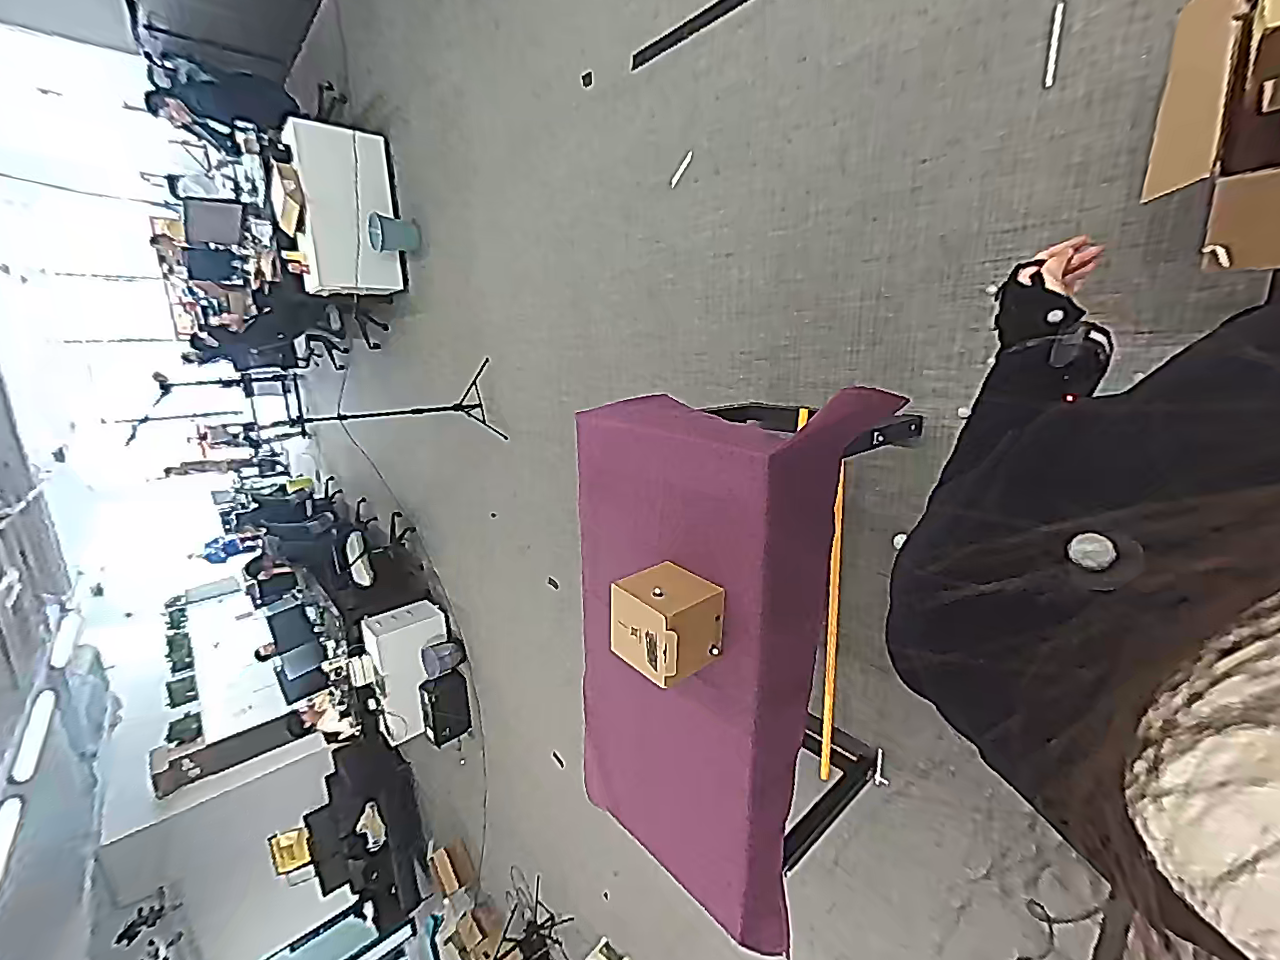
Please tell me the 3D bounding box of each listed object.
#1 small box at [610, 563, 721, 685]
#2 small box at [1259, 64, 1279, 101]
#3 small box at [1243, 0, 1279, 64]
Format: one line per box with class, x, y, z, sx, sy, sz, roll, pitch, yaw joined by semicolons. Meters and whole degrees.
small box;0.054;0.292;1.148;0.179;0.176;0.168;20;115;46
small box;0.712;-0.489;0.500;0.179;0.176;0.168;3;107;46
small box;0.584;-0.451;0.404;0.168;0.176;0.179;4;107;45
